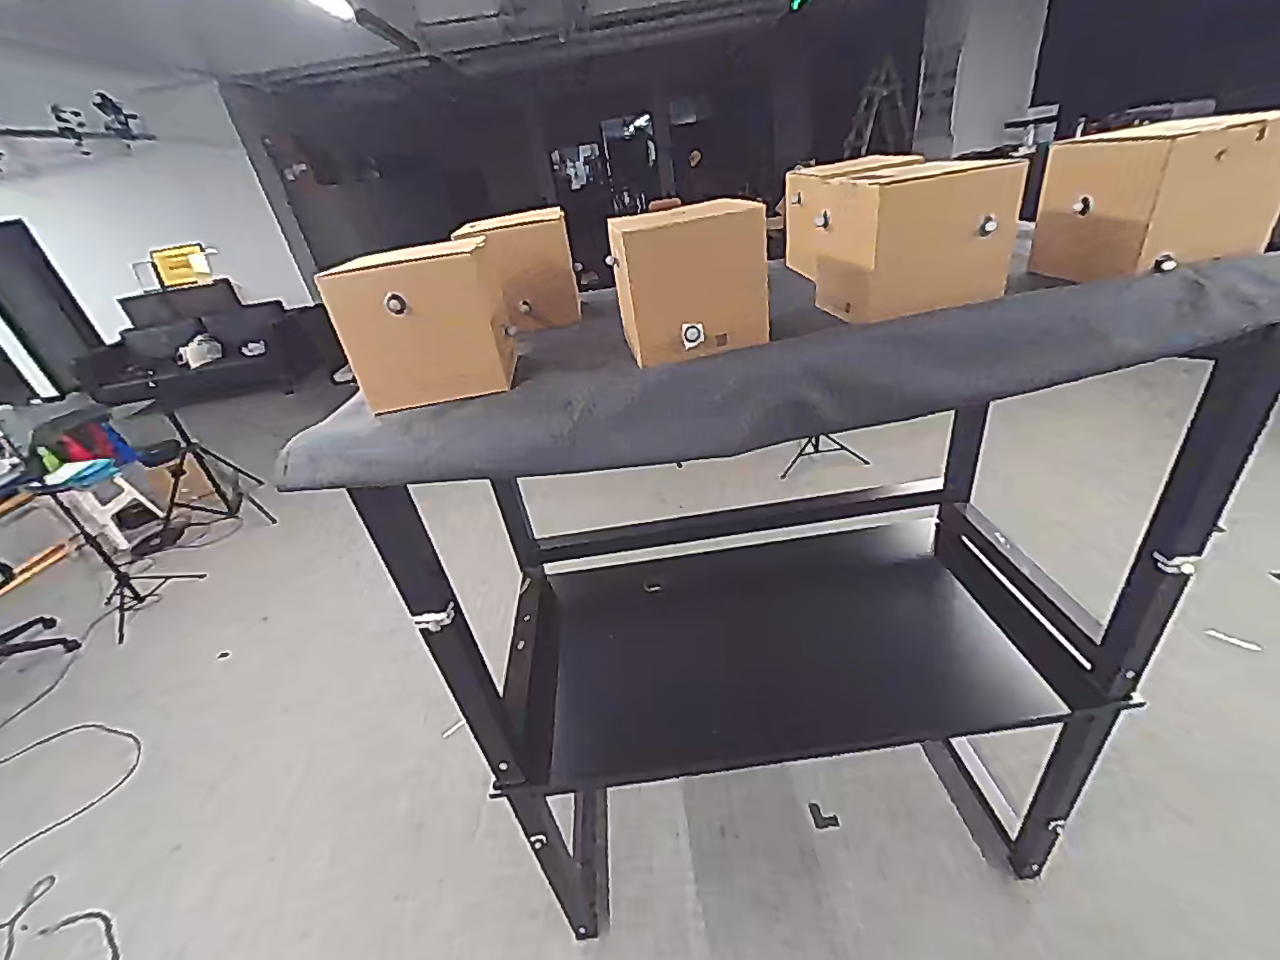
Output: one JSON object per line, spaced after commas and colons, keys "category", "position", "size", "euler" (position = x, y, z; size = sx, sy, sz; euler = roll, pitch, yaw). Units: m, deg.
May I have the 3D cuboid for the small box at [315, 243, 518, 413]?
{"category": "small box", "position": [-0.271, -0.198, 0.701], "size": [0.179, 0.176, 0.168], "euler": [-10, 30, -3]}

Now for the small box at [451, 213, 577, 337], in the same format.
{"category": "small box", "position": [-0.207, -0.357, 0.948], "size": [0.179, 0.176, 0.168], "euler": [-9, 31, -1]}

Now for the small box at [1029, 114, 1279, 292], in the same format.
{"category": "small box", "position": [0.646, -0.346, 0.688], "size": [0.168, 0.176, 0.179], "euler": [-11, 30, -1]}

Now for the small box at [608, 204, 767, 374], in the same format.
{"category": "small box", "position": [0.057, -0.250, 0.700], "size": [0.168, 0.176, 0.179], "euler": [-12, 30, -2]}

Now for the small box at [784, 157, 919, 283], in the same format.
{"category": "small box", "position": [0.362, -0.454, 0.951], "size": [0.168, 0.176, 0.179], "euler": [-10, 31, 0]}
